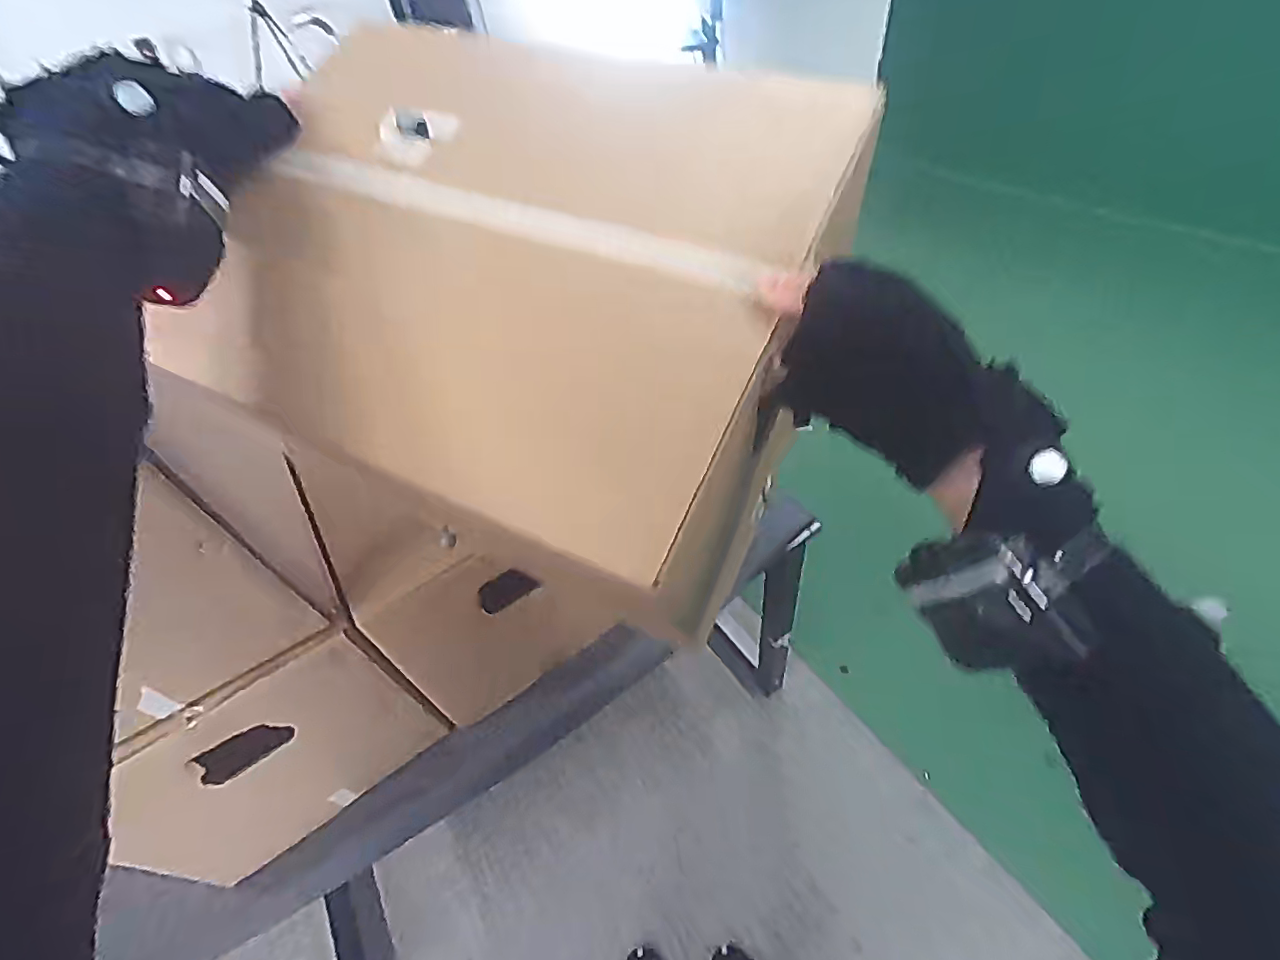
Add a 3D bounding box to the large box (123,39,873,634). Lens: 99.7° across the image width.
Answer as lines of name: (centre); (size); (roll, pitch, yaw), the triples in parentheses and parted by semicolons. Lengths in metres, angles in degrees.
large box: (-0.073, -0.102, 0.467); (0.408, 0.320, 0.320); (21, 73, 19)
